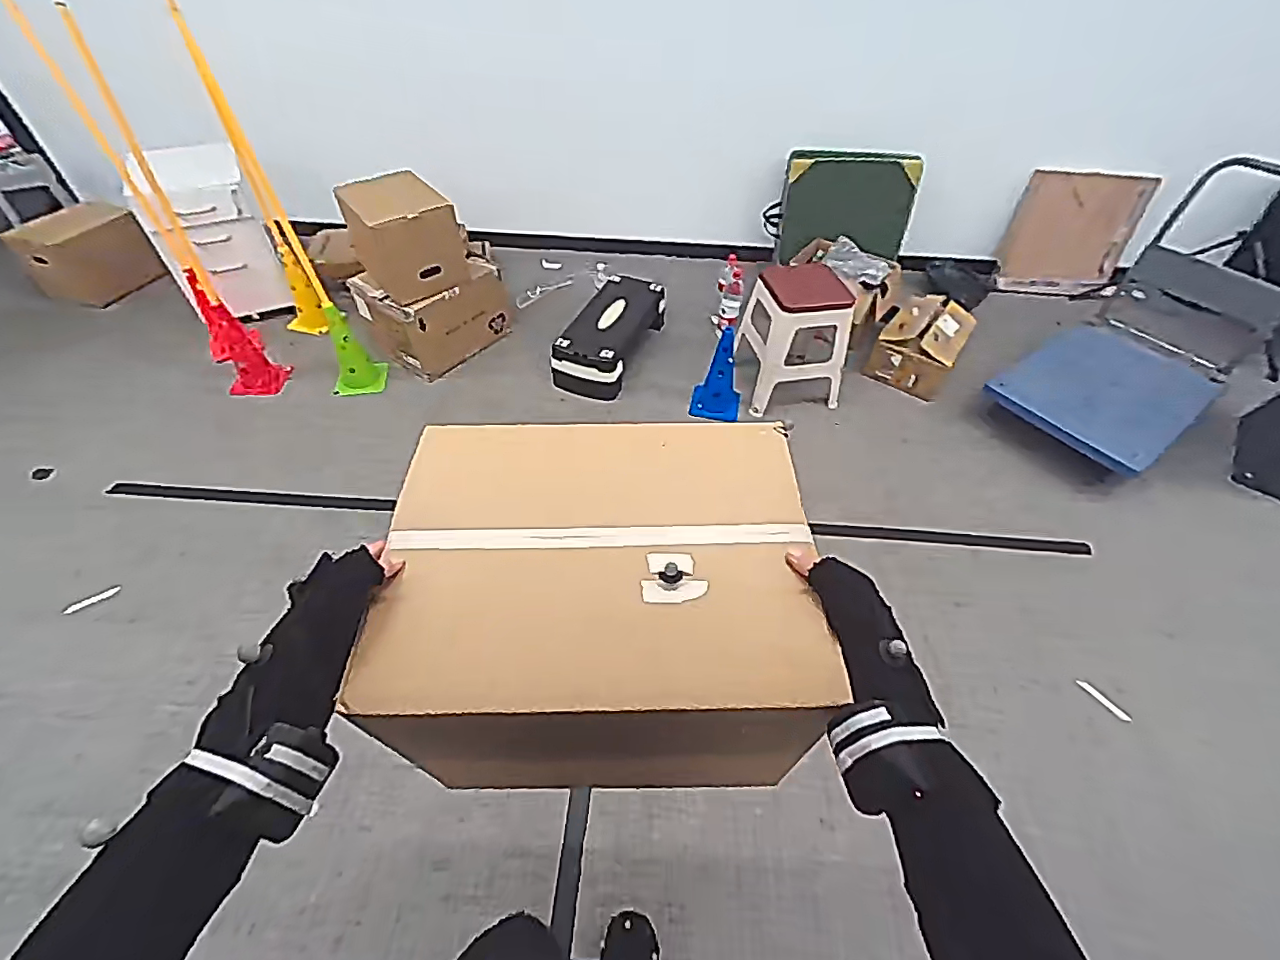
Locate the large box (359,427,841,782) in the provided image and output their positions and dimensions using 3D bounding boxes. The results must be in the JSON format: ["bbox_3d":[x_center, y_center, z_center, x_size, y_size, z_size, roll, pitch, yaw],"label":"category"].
[{"bbox_3d":[-0.036,0.153,0.647,0.408,0.320,0.320,0,51,0],"label":"large box"}]
